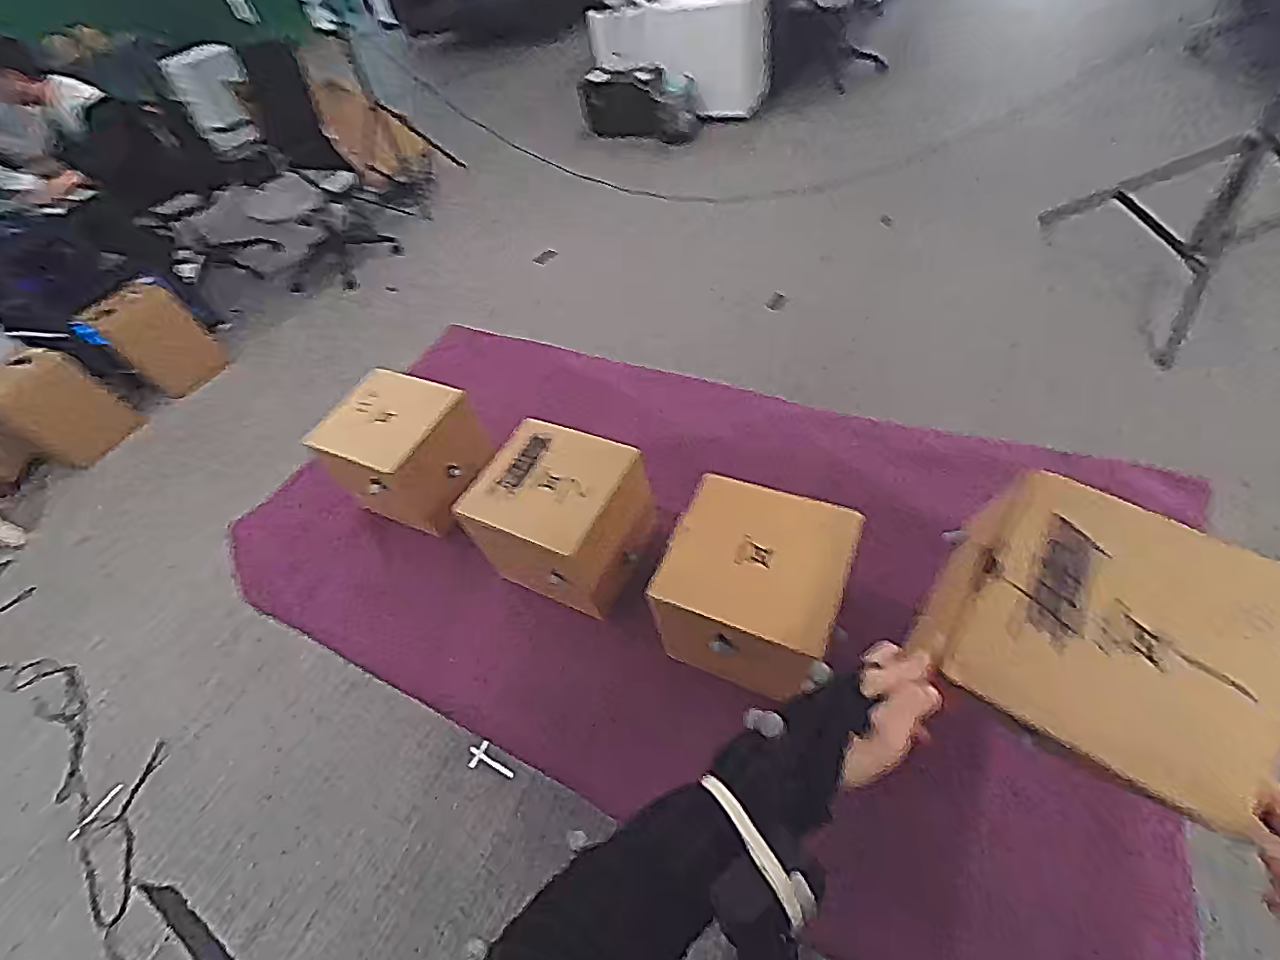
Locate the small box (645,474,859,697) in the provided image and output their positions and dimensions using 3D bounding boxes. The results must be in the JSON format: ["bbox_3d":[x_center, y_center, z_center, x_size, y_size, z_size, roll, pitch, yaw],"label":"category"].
[{"bbox_3d":[0.129,0.124,0.612,0.179,0.176,0.168,15,57,24],"label":"small box"}]

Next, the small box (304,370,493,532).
[{"bbox_3d":[-0.363,-0.041,0.847,0.179,0.176,0.168,17,57,21],"label":"small box"}]
